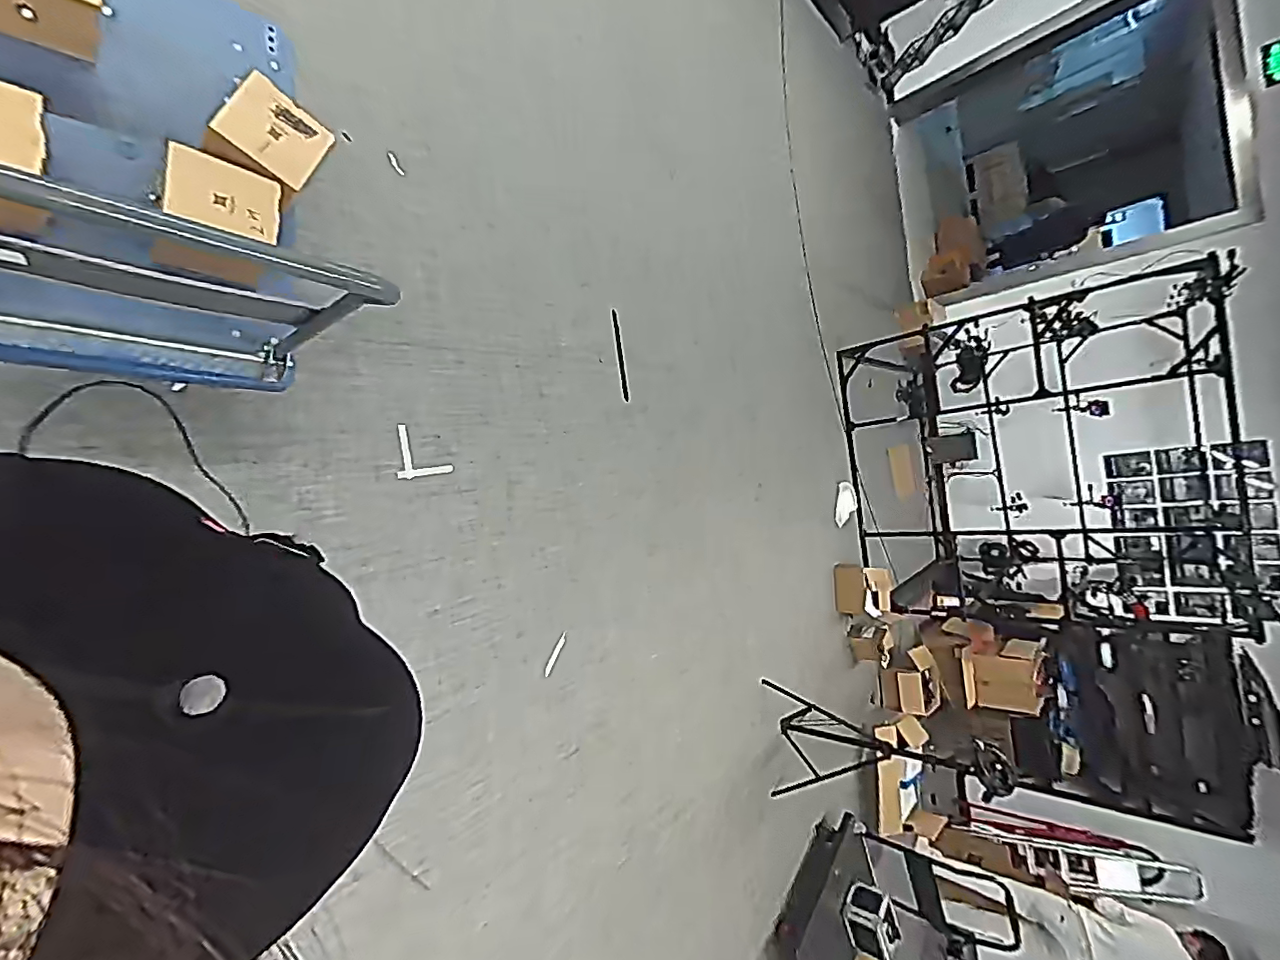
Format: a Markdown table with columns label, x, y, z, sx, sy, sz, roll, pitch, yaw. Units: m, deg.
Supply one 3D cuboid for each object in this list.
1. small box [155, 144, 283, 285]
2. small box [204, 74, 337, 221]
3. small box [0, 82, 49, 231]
| label | x | y | z | sx | sy | sz | roll | pitch | yaw |
| --- | --- | --- | --- | --- | --- | --- | --- | --- | --- |
| small box | -0.841 | -0.512 | 1.077 | 0.179 | 0.176 | 0.168 | 6 | 81 | -46 |
| small box | -0.793 | -0.697 | 1.153 | 0.168 | 0.176 | 0.179 | 35 | 62 | -39 |
| small box | -1.057 | -0.518 | 0.846 | 0.179 | 0.176 | 0.168 | -2 | 86 | -49 |
